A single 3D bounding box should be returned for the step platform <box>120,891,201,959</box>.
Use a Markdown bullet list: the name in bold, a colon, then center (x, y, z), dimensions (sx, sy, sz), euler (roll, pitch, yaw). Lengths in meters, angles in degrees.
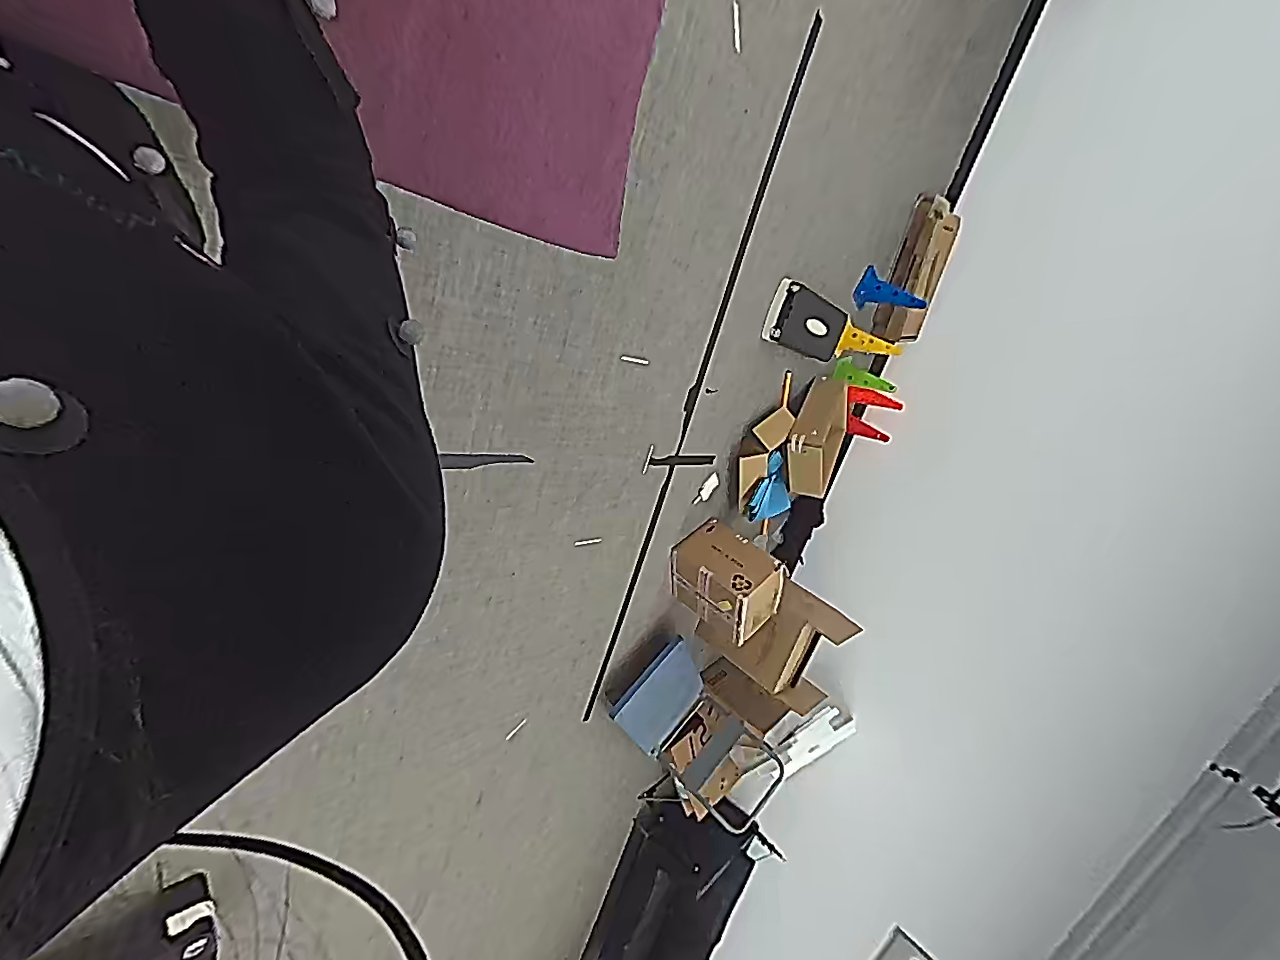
- **step platform**: center (-1.563, 1.410, 1.381), dimensions (0.684, 0.204, 0.286), euler (-5, 119, -50)
